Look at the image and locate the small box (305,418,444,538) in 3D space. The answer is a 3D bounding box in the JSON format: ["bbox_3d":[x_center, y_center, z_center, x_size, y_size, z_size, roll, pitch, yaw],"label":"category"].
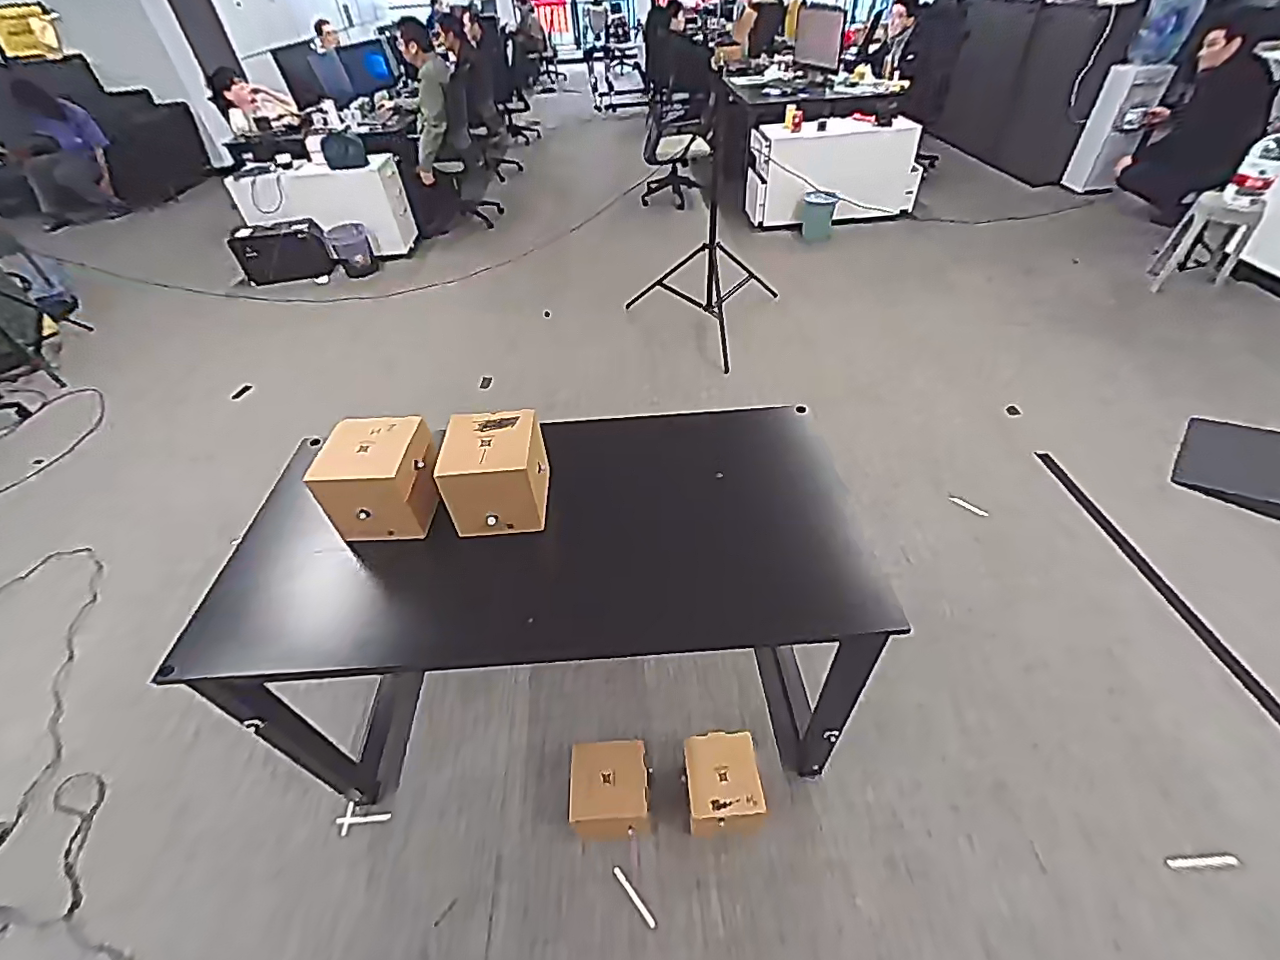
[{"bbox_3d":[-0.500,0.000,1.055,0.168,0.176,0.179,-2,44,2],"label":"small box"}]

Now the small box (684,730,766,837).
[{"bbox_3d":[0.195,0.727,1.294,0.168,0.176,0.179,-6,43,0],"label":"small box"}]

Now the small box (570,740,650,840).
[{"bbox_3d":[-0.067,0.746,1.300,0.179,0.176,0.168,-5,43,1],"label":"small box"}]

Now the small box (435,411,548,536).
[{"bbox_3d":[-0.276,-0.012,1.049,0.168,0.176,0.179,-5,45,-1],"label":"small box"}]
